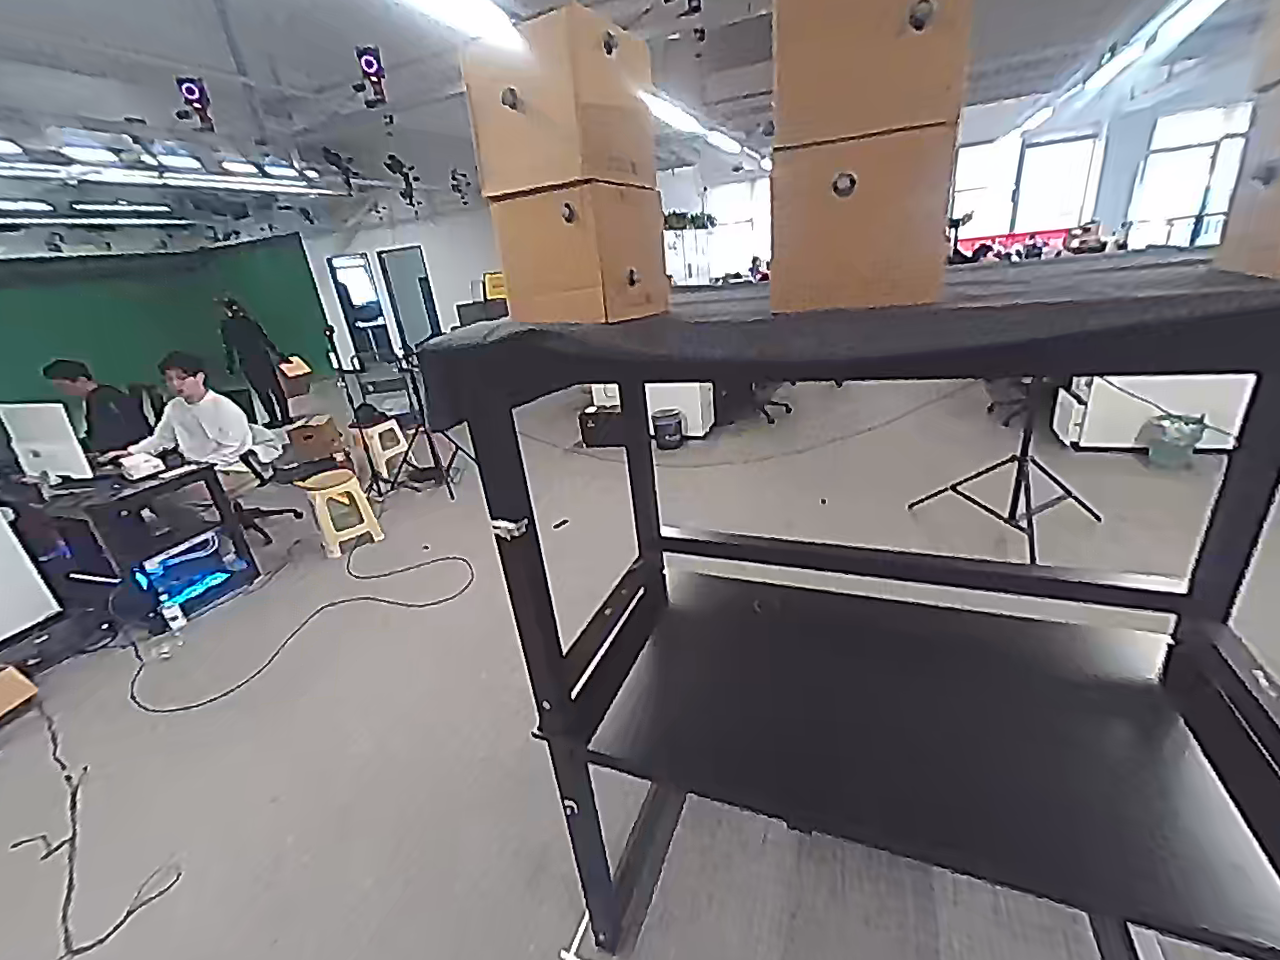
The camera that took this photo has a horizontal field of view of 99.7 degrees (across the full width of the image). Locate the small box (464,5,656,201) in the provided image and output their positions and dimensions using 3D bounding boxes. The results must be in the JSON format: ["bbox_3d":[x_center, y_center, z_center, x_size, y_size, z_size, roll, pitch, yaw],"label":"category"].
[{"bbox_3d":[-0.096,-0.458,0.702,0.179,0.176,0.168,8,24,31],"label":"small box"}]

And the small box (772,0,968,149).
[{"bbox_3d":[0.235,-0.445,0.580,0.179,0.176,0.168,0,21,16],"label":"small box"}]

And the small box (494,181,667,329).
[{"bbox_3d":[-0.077,-0.309,0.769,0.179,0.176,0.168,8,24,31],"label":"small box"}]

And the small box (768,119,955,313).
[{"bbox_3d":[0.249,-0.291,0.630,0.179,0.176,0.168,3,23,20],"label":"small box"}]

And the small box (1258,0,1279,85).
[{"bbox_3d":[0.628,-0.422,0.402,0.168,0.176,0.179,4,24,28],"label":"small box"}]
